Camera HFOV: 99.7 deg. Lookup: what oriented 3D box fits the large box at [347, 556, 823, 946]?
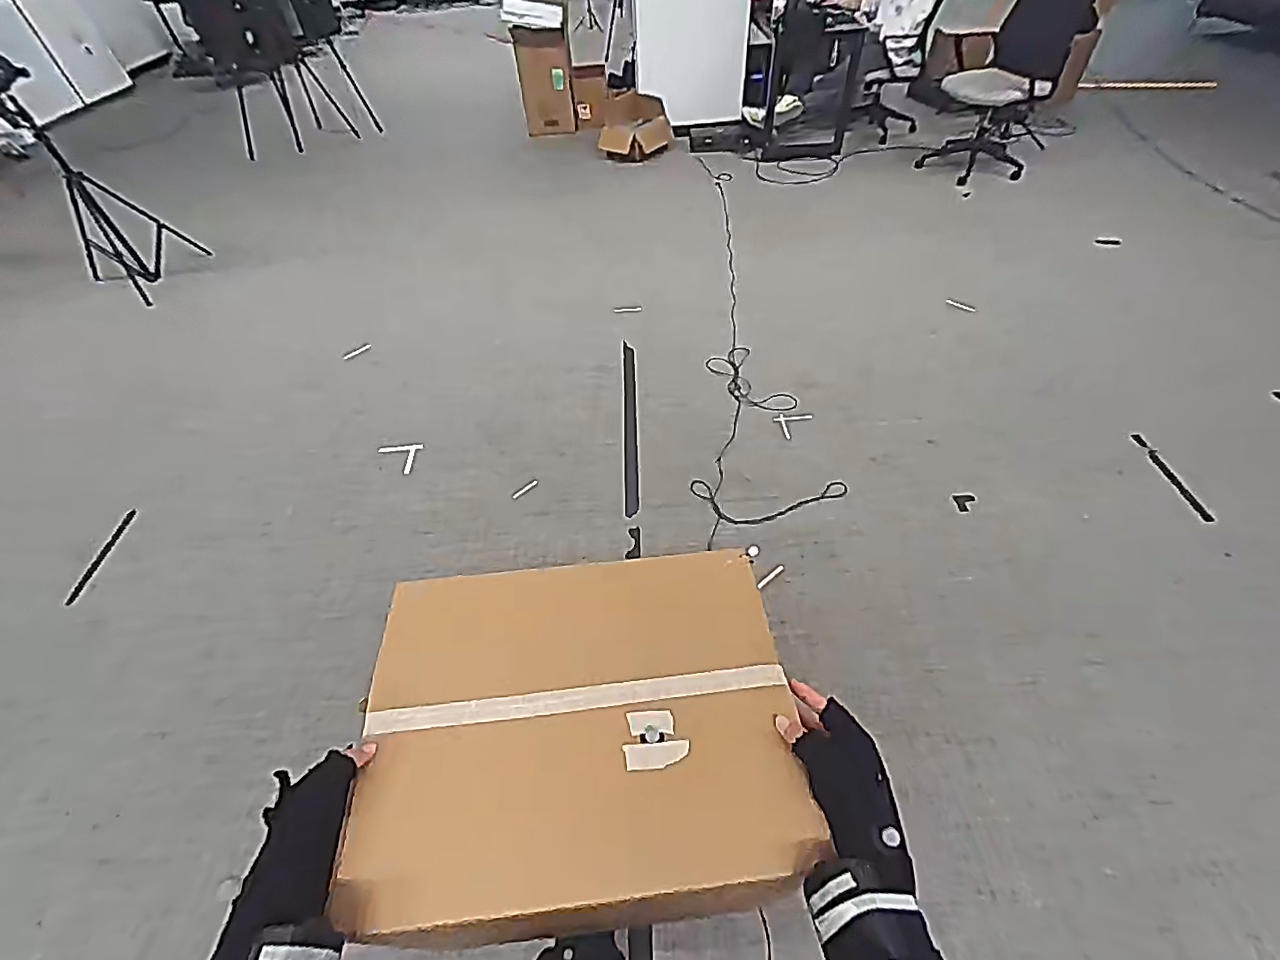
[{"bbox_3d":[-0.056,0.323,0.651,0.408,0.320,0.320,-5,48,-4],"label":"large box"}]
